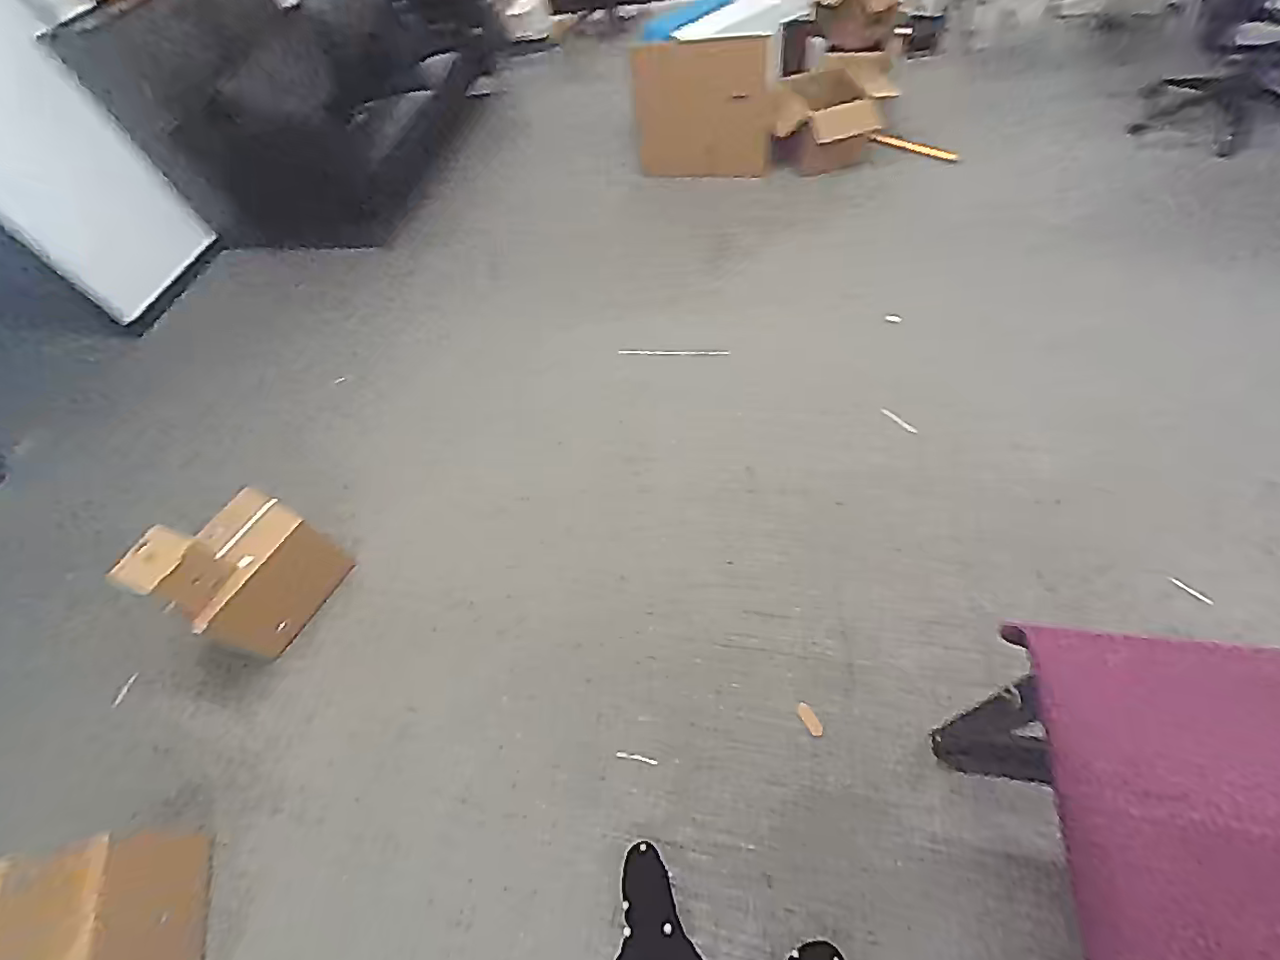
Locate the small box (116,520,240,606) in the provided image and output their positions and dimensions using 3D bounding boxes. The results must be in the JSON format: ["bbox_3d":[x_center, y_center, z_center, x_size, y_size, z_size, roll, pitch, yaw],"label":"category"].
[{"bbox_3d":[-1.320,0.244,1.559,0.179,0.176,0.168,15,60,18],"label":"small box"}]

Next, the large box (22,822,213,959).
[{"bbox_3d":[-1.290,1.095,1.280,0.320,0.320,0.408,-23,56,-4],"label":"large box"}]
